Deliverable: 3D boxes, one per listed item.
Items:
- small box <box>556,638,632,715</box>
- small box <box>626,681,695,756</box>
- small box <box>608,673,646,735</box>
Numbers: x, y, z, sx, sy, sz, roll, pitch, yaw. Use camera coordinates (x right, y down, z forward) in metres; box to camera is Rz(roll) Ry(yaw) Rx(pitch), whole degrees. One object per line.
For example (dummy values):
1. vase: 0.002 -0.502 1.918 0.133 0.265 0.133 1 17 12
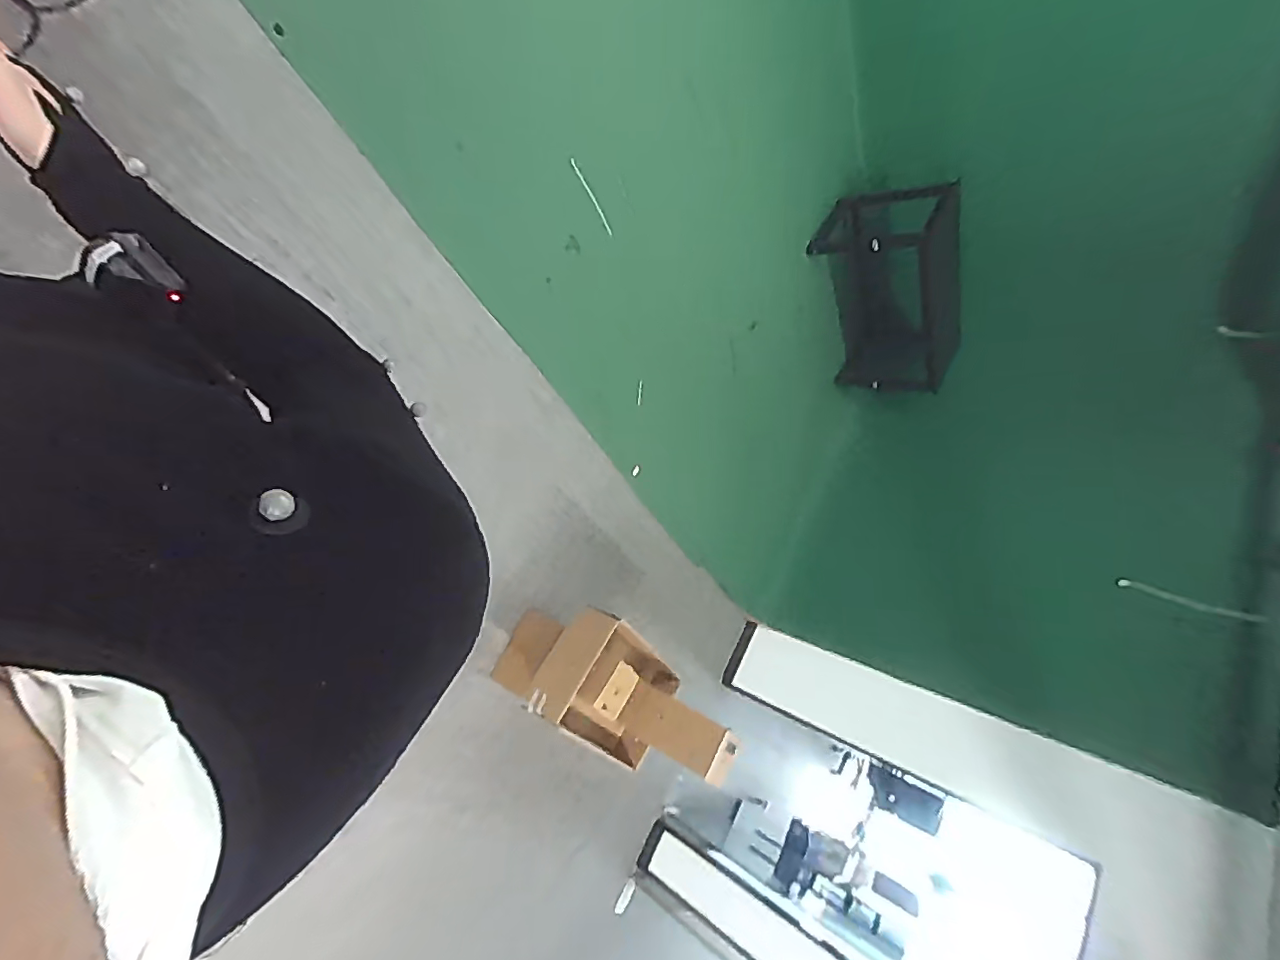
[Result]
1. small box: -0.162 0.685 1.897 0.179 0.176 0.168 -56 139 -24
2. small box: 0.069 0.874 1.985 0.179 0.176 0.168 -59 139 -22
3. small box: -0.054 0.844 2.089 0.179 0.176 0.168 -57 139 -22
